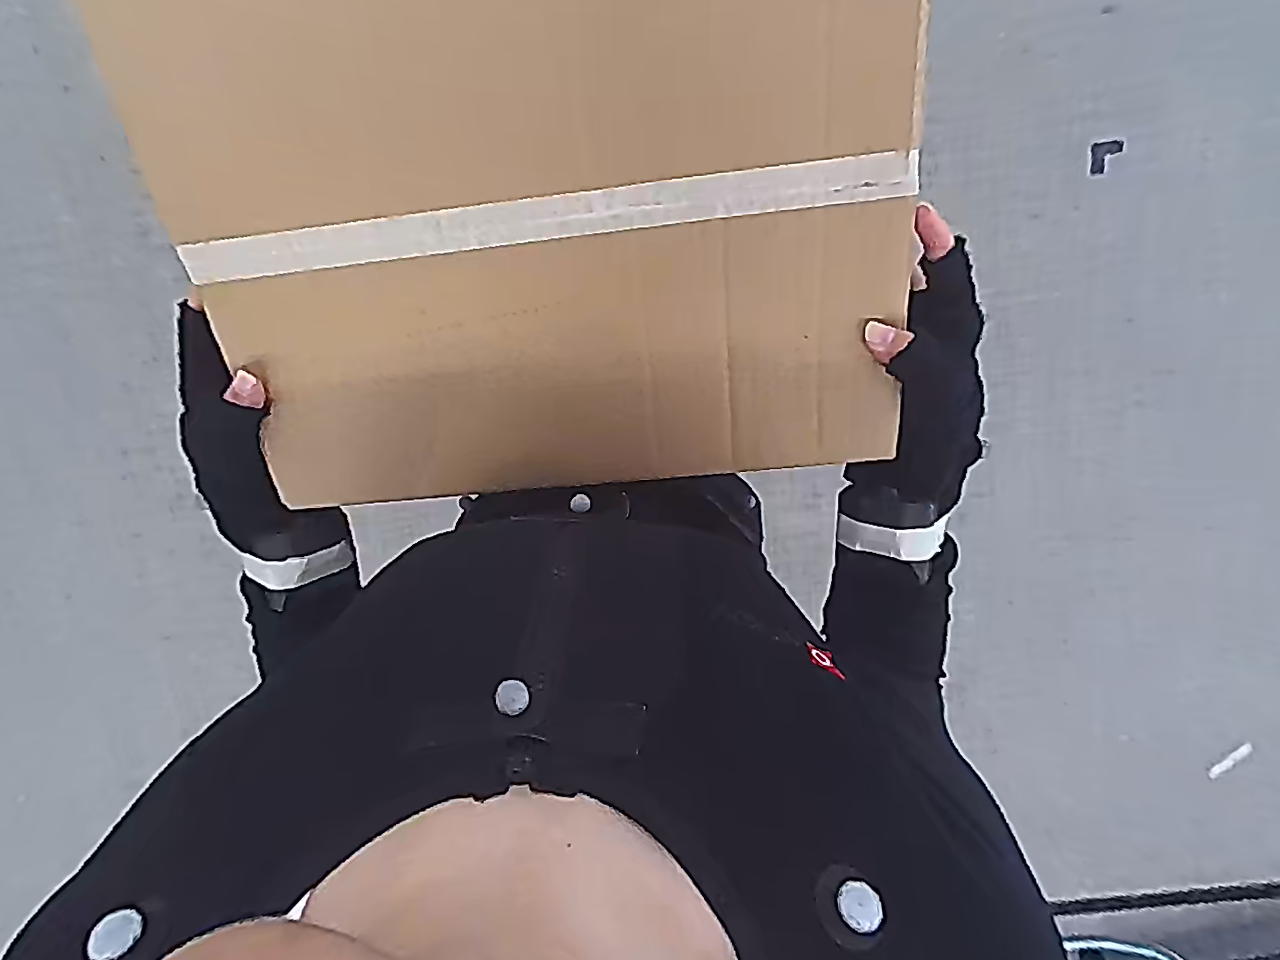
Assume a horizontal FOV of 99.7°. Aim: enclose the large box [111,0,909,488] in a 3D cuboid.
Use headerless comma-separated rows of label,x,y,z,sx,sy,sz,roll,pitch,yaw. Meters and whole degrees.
large box,-0.055,-0.209,0.441,0.408,0.320,0.320,-5,113,4
